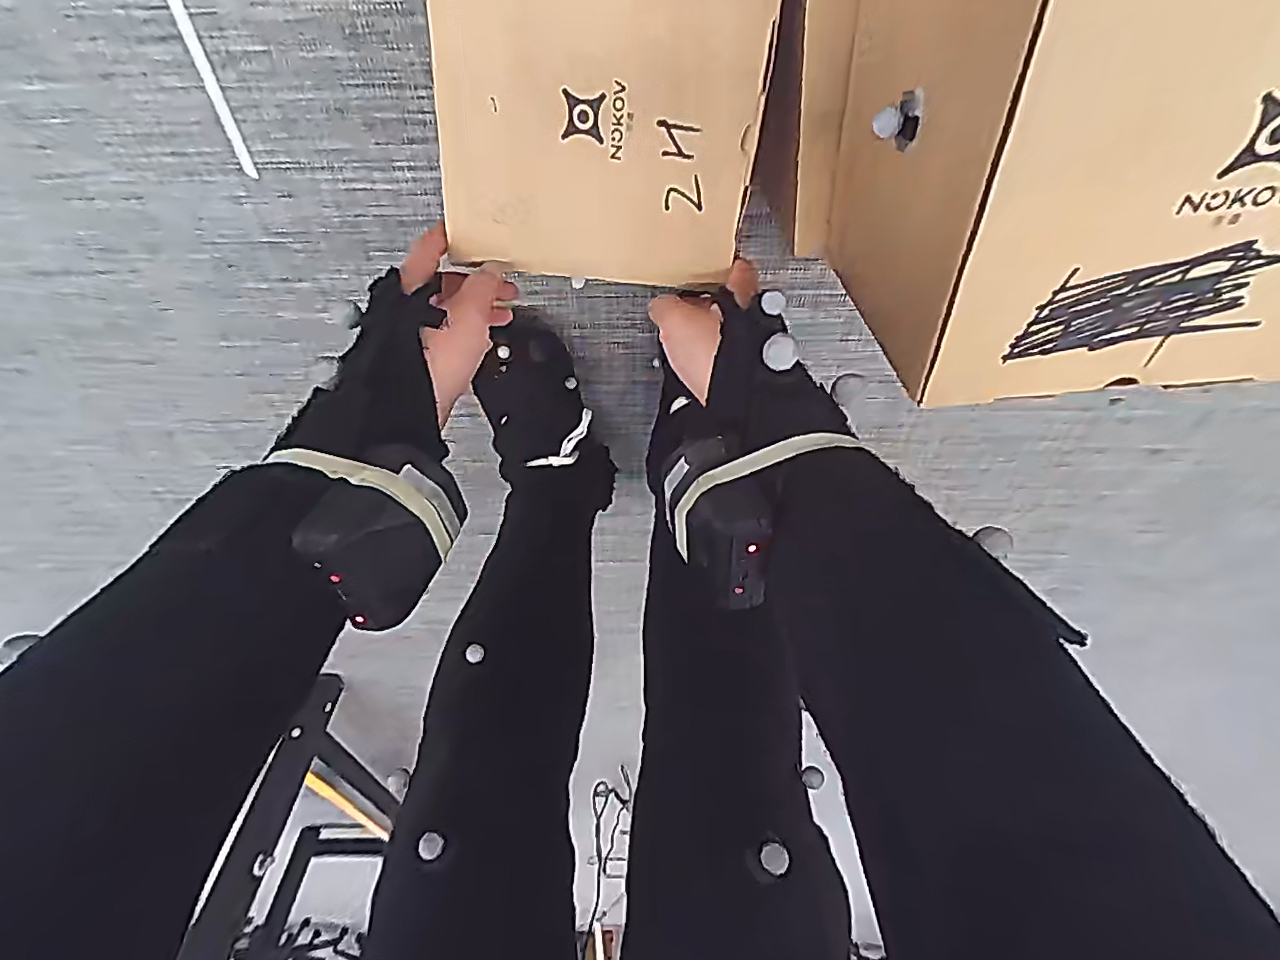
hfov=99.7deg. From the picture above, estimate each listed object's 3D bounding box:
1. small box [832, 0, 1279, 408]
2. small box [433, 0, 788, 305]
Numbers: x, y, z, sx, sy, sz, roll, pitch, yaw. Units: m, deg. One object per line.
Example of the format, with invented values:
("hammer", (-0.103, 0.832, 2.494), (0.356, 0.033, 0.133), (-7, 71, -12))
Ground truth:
("small box", (0.192, -0.153, 0.232), (0.168, 0.176, 0.179), (-4, 133, 4))
("small box", (-0.023, -0.230, 0.363), (0.179, 0.176, 0.168), (6, 121, -5))
